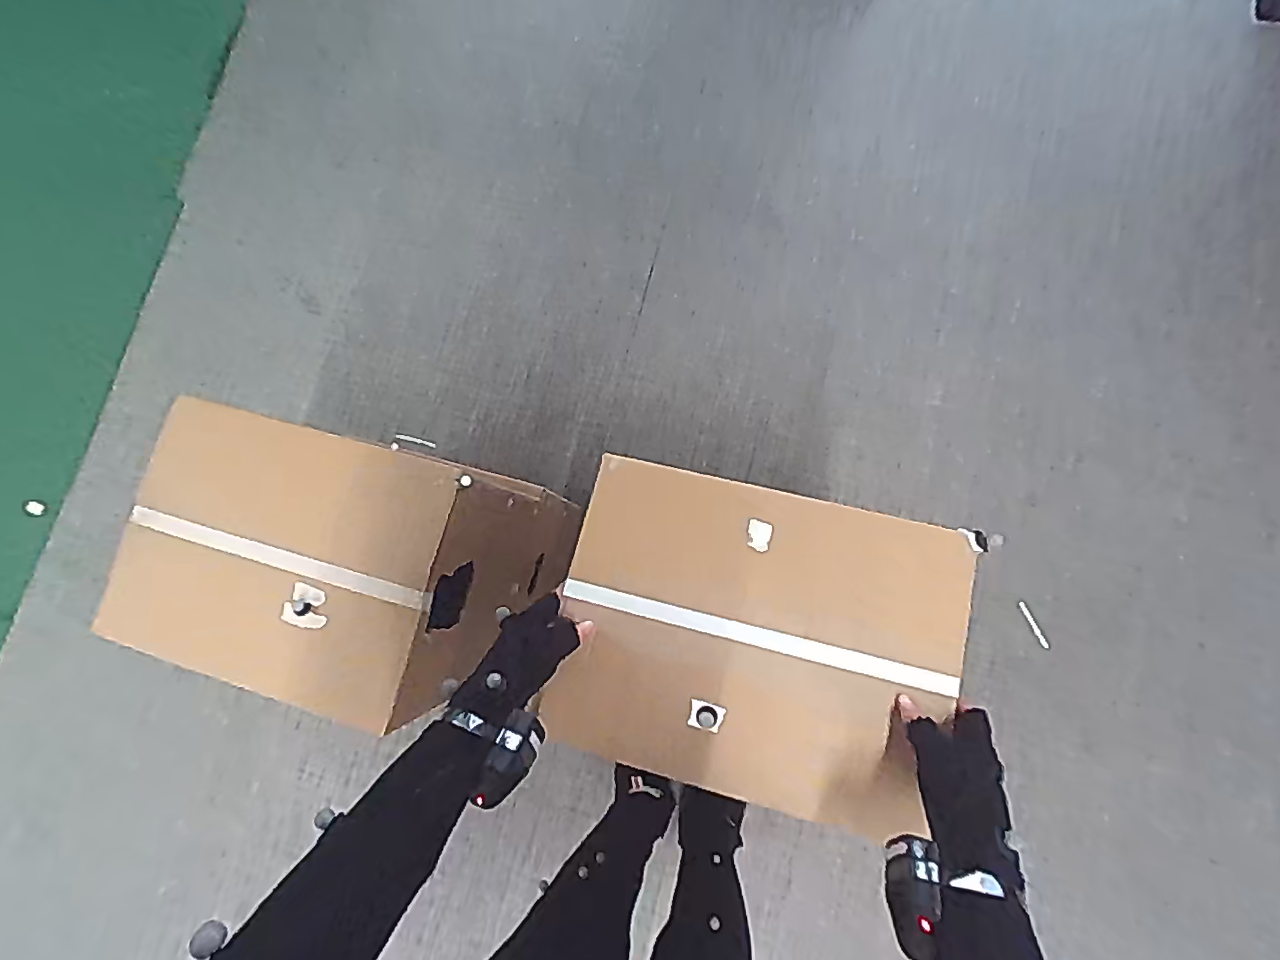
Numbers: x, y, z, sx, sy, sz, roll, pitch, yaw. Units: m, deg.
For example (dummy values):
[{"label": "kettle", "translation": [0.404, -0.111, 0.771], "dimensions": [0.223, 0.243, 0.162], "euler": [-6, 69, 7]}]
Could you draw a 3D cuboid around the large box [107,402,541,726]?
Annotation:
[{"label": "large box", "translation": [-0.411, 0.112, 0.800], "dimensions": [0.408, 0.320, 0.320], "euler": [15, 84, 7]}]
